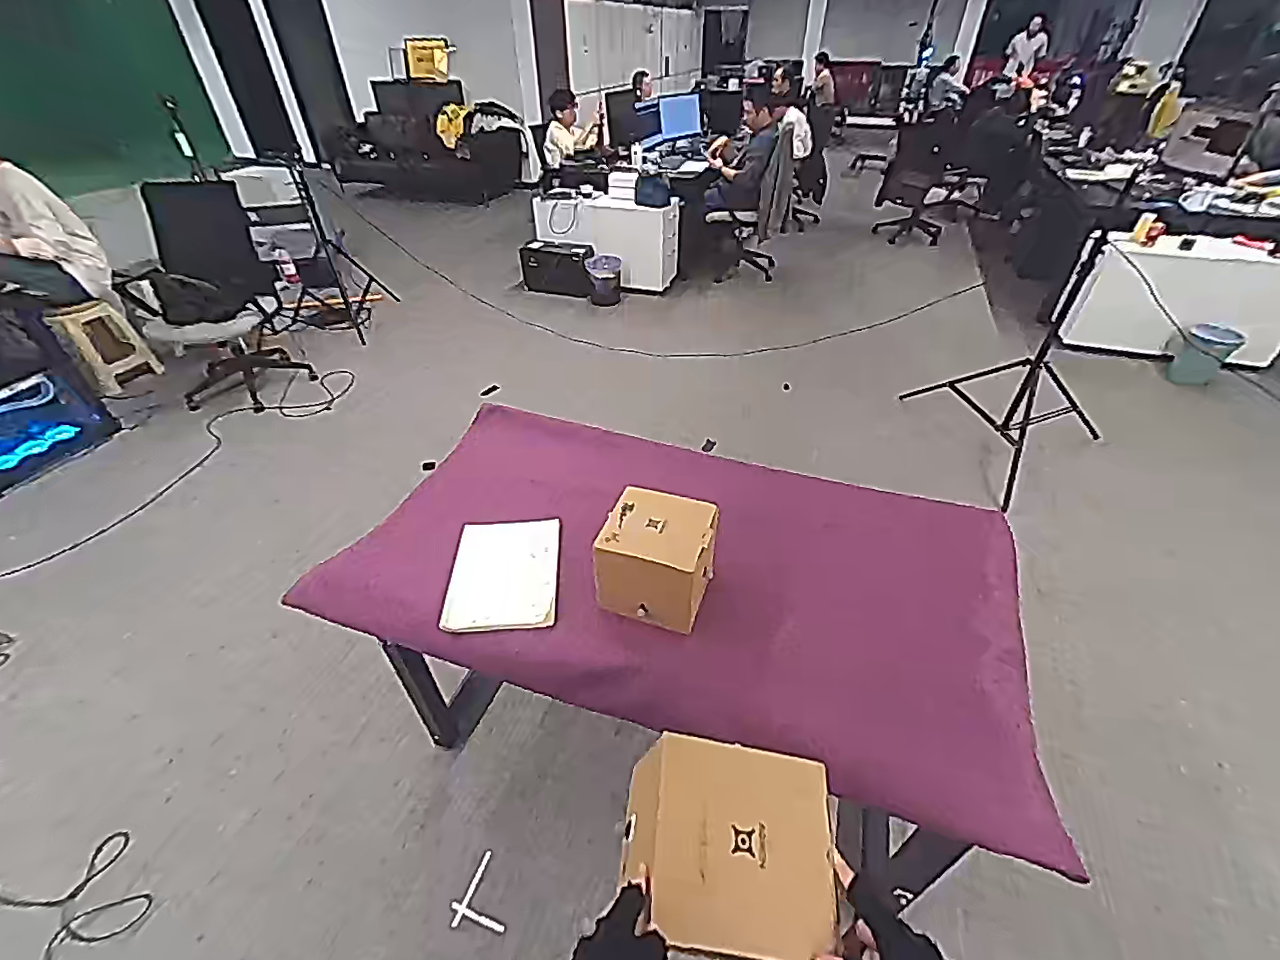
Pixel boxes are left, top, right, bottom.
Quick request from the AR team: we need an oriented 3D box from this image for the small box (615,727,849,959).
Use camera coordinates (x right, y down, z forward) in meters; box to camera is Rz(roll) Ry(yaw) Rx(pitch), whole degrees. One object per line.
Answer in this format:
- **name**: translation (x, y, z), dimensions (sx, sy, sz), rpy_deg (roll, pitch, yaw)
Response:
- **small box**: translation (0.083, 0.377, 0.554), dimensions (0.179, 0.176, 0.168), rpy_deg (13, 47, -5)

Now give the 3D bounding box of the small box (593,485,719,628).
- **small box**: translation (0.031, 0.138, 0.967), dimensions (0.179, 0.176, 0.168), rpy_deg (13, 41, 15)
